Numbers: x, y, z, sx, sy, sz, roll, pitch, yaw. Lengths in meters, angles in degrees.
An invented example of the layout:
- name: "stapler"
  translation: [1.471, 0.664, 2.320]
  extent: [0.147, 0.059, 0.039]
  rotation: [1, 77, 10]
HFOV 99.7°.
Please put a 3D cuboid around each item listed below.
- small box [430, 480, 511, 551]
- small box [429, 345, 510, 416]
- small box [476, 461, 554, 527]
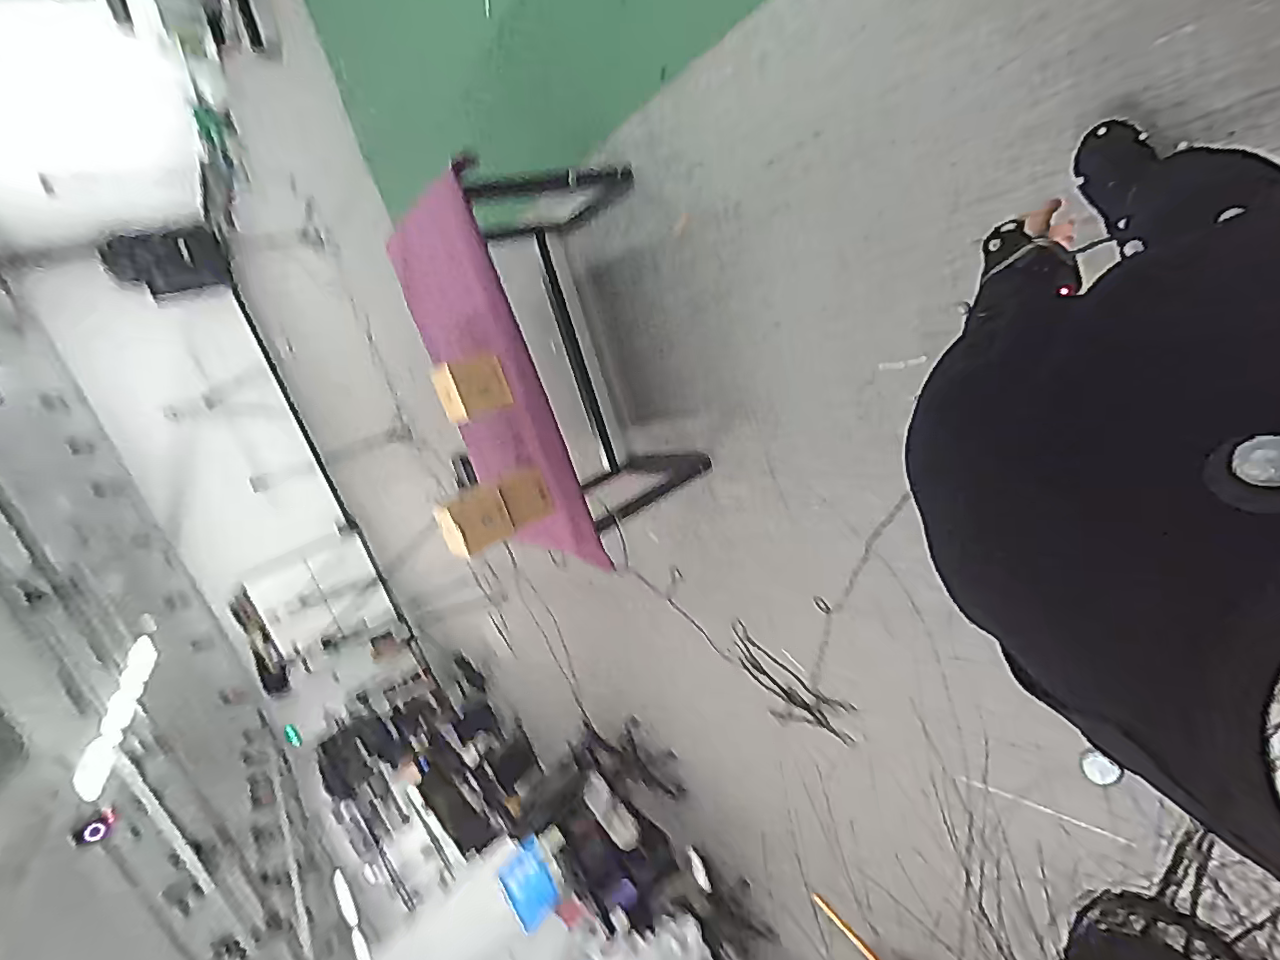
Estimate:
- name: "small box"
  translation: [-0.528, 0.107, 1.711]
  extent: [0.179, 0.176, 0.168]
  rotation: [2, 115, 51]
- name: "small box"
  translation: [-0.532, -0.314, 1.708]
  extent: [0.179, 0.176, 0.168]
  rotation: [1, 114, 53]
- name: "small box"
  translation: [-0.417, 0.043, 1.812]
  extent: [0.179, 0.176, 0.168]
  rotation: [-1, 113, 51]
